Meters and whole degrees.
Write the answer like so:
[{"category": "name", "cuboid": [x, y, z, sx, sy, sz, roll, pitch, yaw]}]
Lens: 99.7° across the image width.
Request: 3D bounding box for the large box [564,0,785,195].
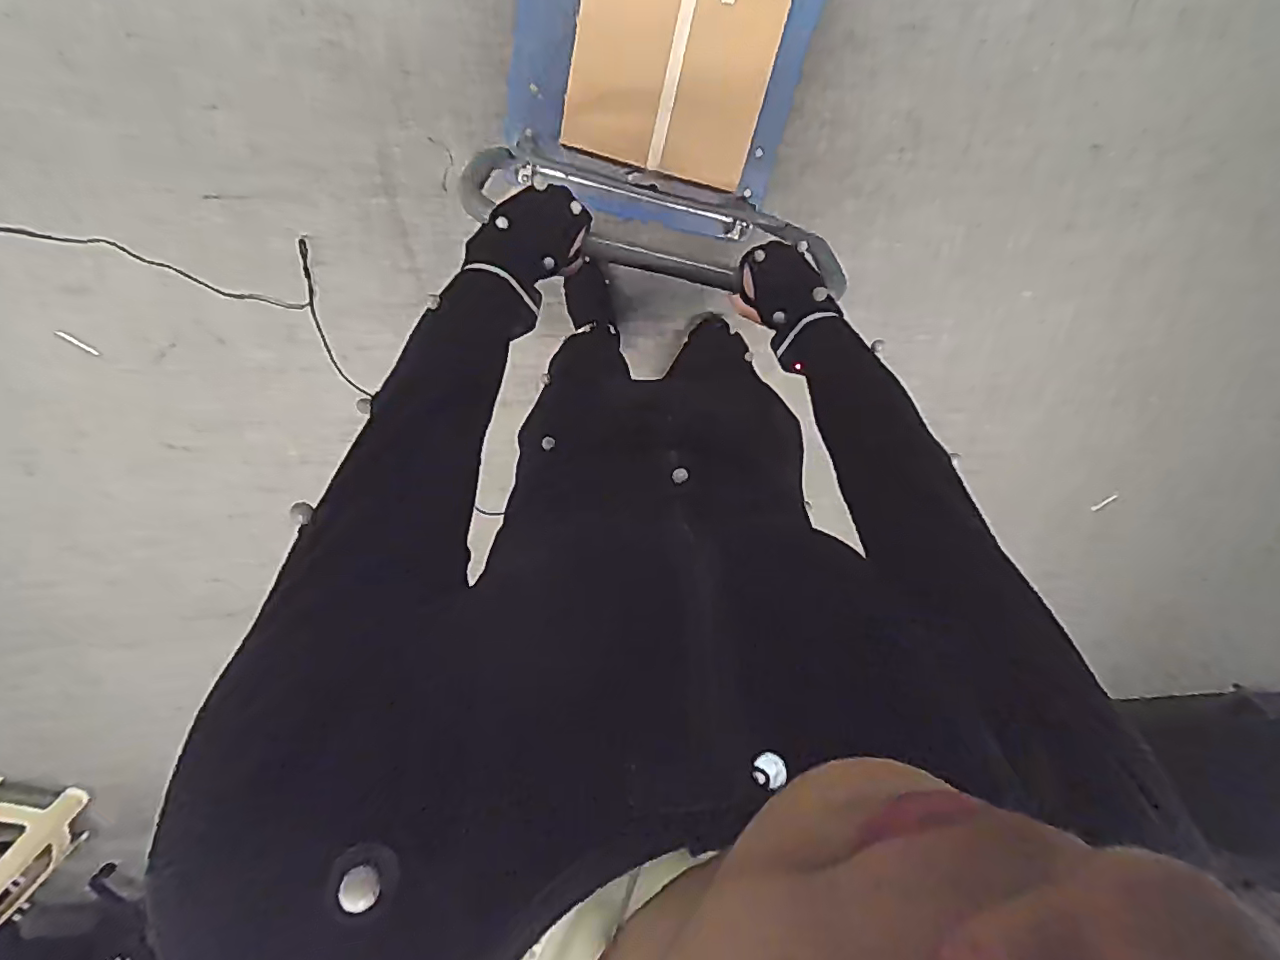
[{"category": "large box", "cuboid": [0.053, -0.776, 0.983, 0.320, 0.320, 0.408, 10, 115, -9]}]
